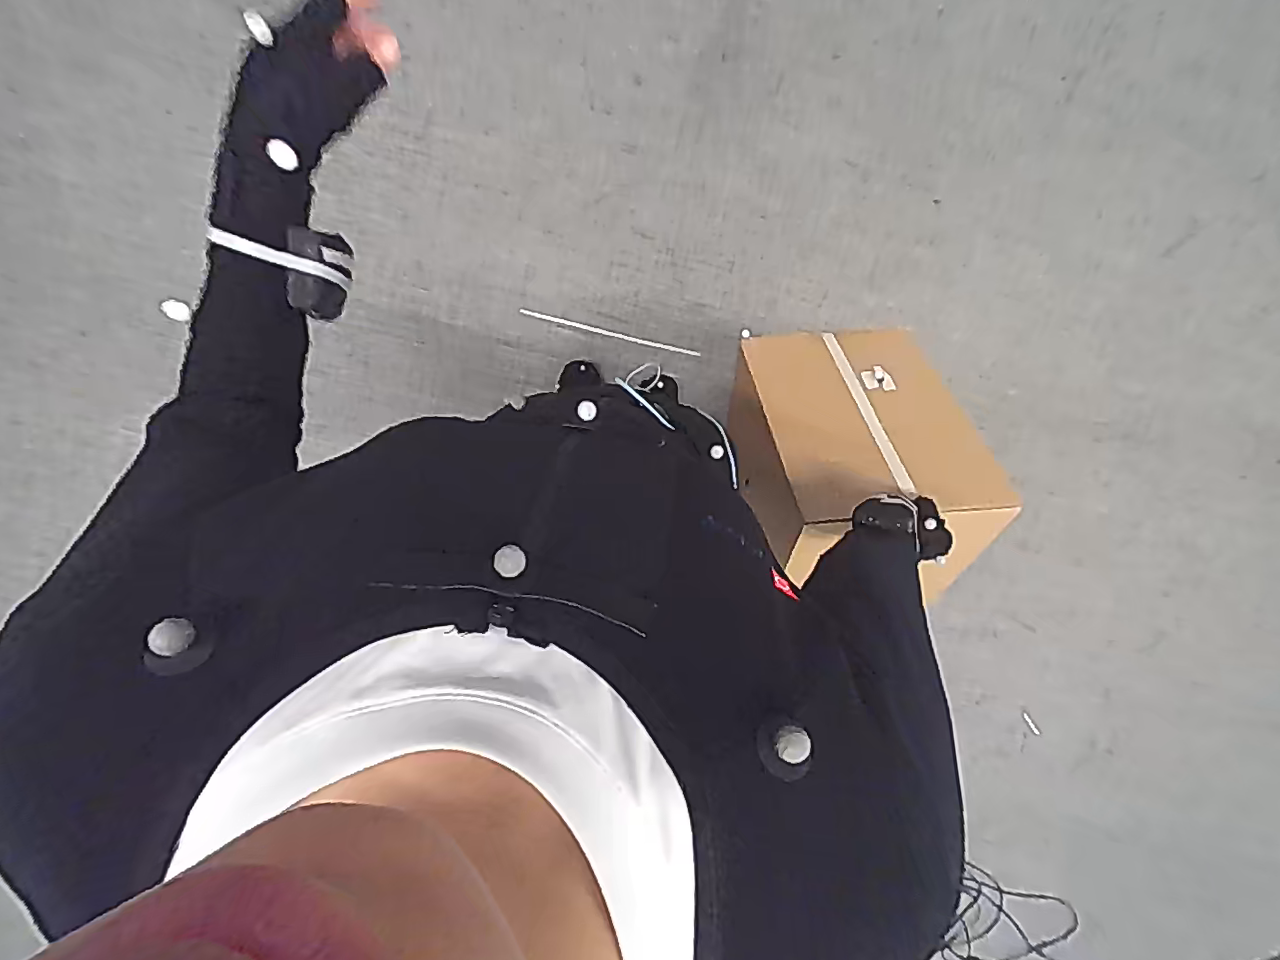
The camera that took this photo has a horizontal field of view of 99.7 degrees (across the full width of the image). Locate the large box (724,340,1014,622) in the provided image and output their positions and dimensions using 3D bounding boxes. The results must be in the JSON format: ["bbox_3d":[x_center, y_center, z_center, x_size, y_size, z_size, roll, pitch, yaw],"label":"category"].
[{"bbox_3d":[0.355,-0.001,0.982,0.320,0.408,0.320,-3,140,-4],"label":"large box"}]
